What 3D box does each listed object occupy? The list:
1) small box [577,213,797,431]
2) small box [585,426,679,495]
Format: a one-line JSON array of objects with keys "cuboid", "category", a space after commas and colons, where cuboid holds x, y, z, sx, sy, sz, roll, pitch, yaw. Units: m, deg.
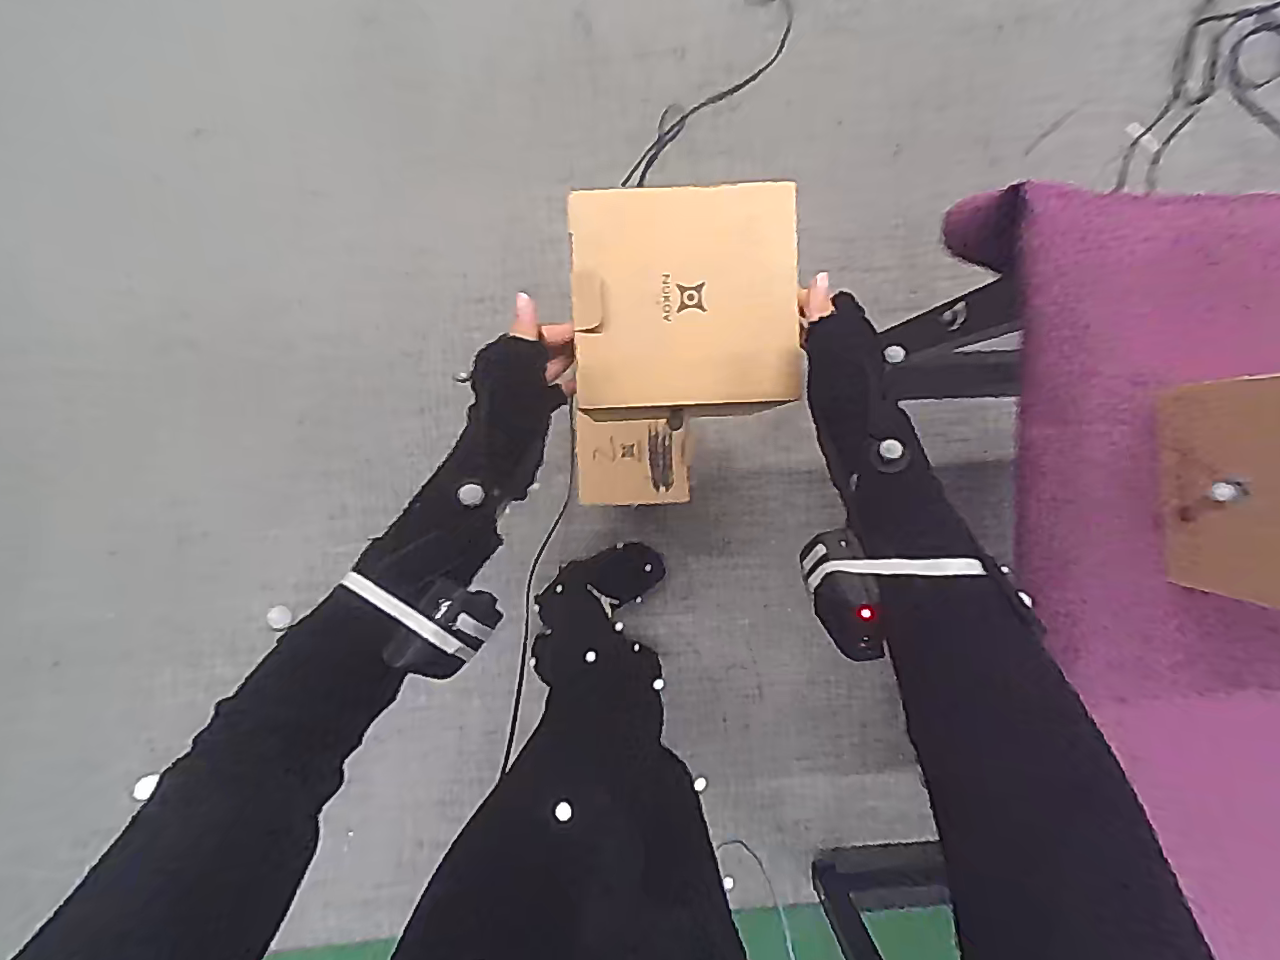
[{"cuboid": [0.037, -0.133, 0.509, 0.179, 0.176, 0.168, -2, 93, 1], "category": "small box"}, {"cuboid": [-0.018, -0.060, 1.089, 0.179, 0.176, 0.168, 0, 93, -1], "category": "small box"}]
